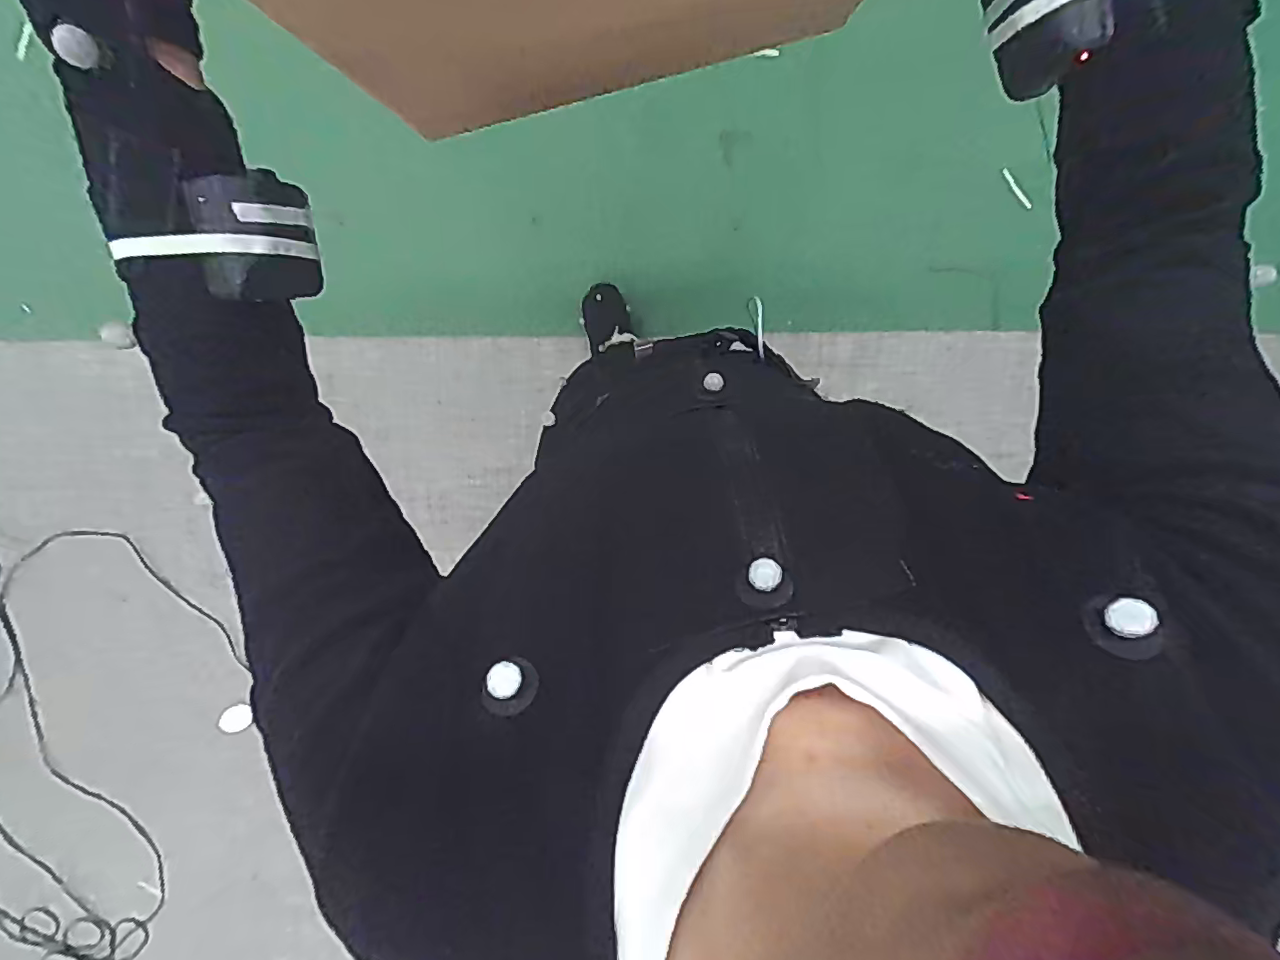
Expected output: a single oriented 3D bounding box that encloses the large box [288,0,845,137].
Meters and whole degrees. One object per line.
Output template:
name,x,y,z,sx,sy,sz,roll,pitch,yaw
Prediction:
large box,-0.044,-0.472,0.326,0.408,0.320,0.320,-14,108,3
